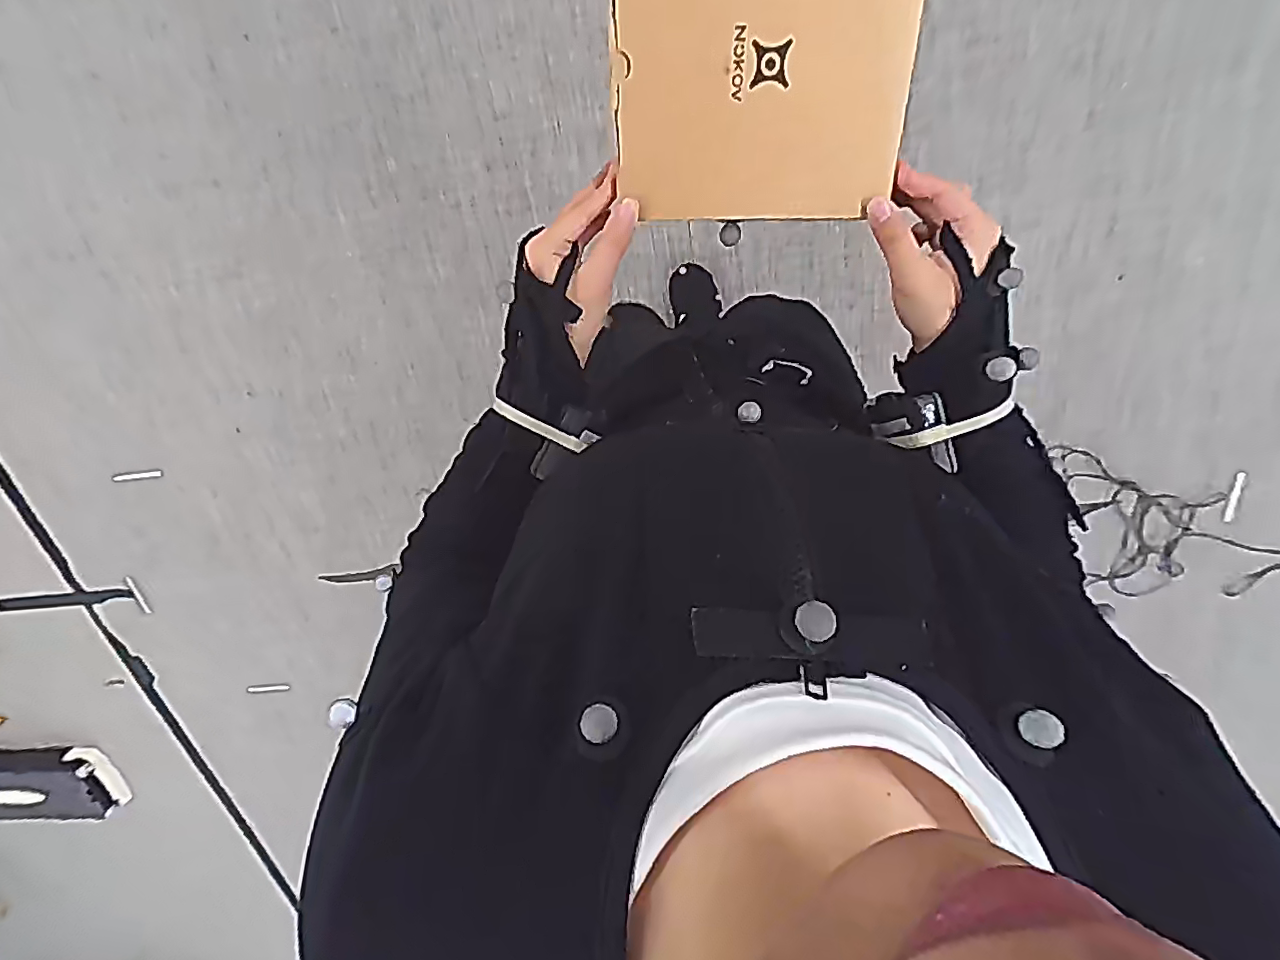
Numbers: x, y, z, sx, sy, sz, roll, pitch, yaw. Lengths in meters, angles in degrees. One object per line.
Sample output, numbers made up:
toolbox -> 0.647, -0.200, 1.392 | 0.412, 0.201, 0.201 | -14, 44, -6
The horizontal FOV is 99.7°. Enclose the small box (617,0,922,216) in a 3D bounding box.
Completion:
small box -> 0.076, -0.285, 0.392 | 0.179, 0.176, 0.168 | 1, 116, 2
